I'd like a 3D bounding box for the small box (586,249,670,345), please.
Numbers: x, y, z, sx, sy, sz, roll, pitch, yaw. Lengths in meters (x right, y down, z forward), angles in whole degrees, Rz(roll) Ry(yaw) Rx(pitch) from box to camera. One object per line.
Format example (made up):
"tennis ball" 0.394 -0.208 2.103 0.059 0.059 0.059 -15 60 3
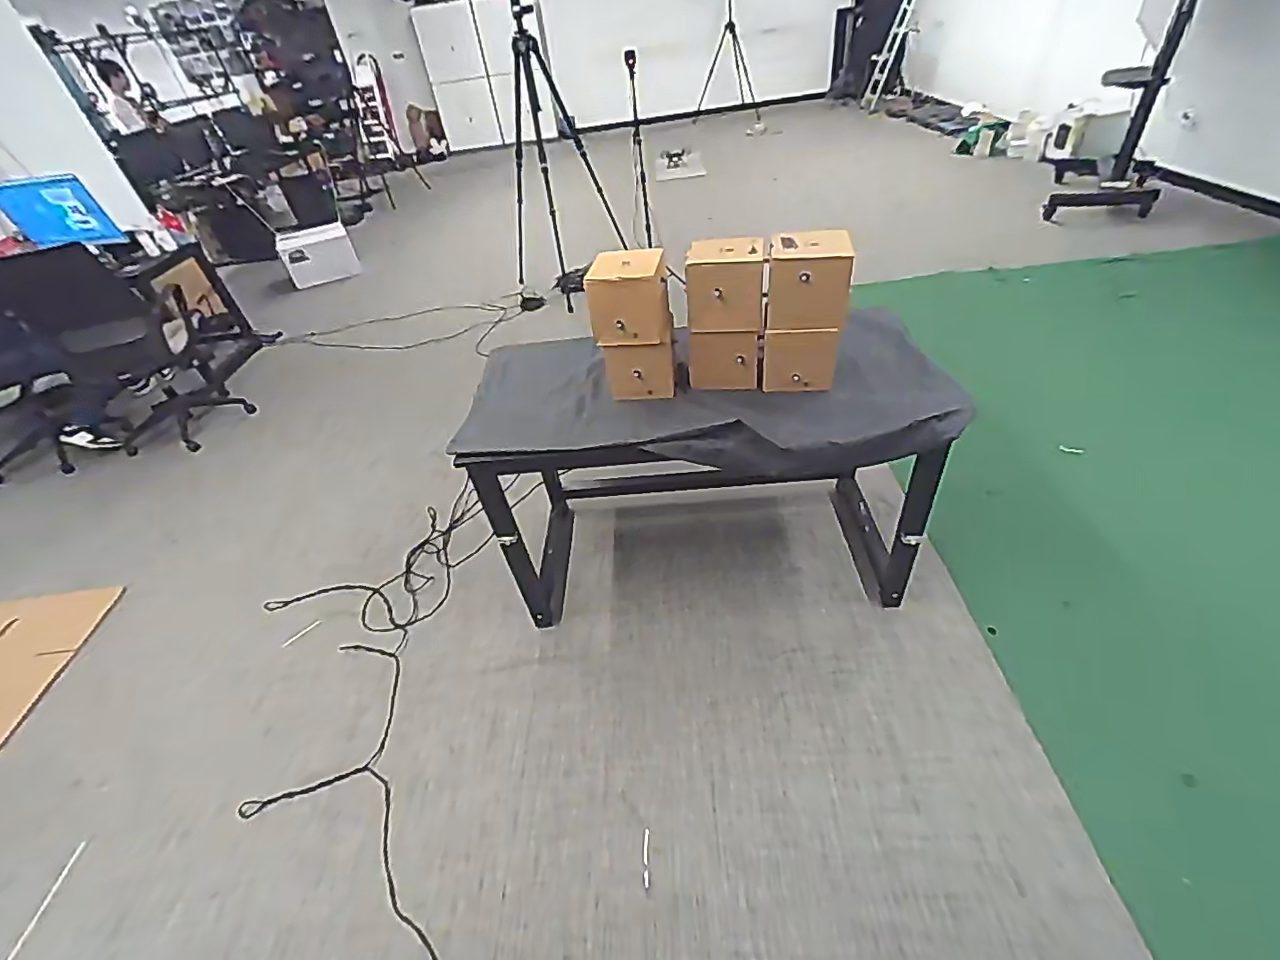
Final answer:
"small box" -0.021 -0.448 1.331 0.168 0.176 0.179 1 44 12
